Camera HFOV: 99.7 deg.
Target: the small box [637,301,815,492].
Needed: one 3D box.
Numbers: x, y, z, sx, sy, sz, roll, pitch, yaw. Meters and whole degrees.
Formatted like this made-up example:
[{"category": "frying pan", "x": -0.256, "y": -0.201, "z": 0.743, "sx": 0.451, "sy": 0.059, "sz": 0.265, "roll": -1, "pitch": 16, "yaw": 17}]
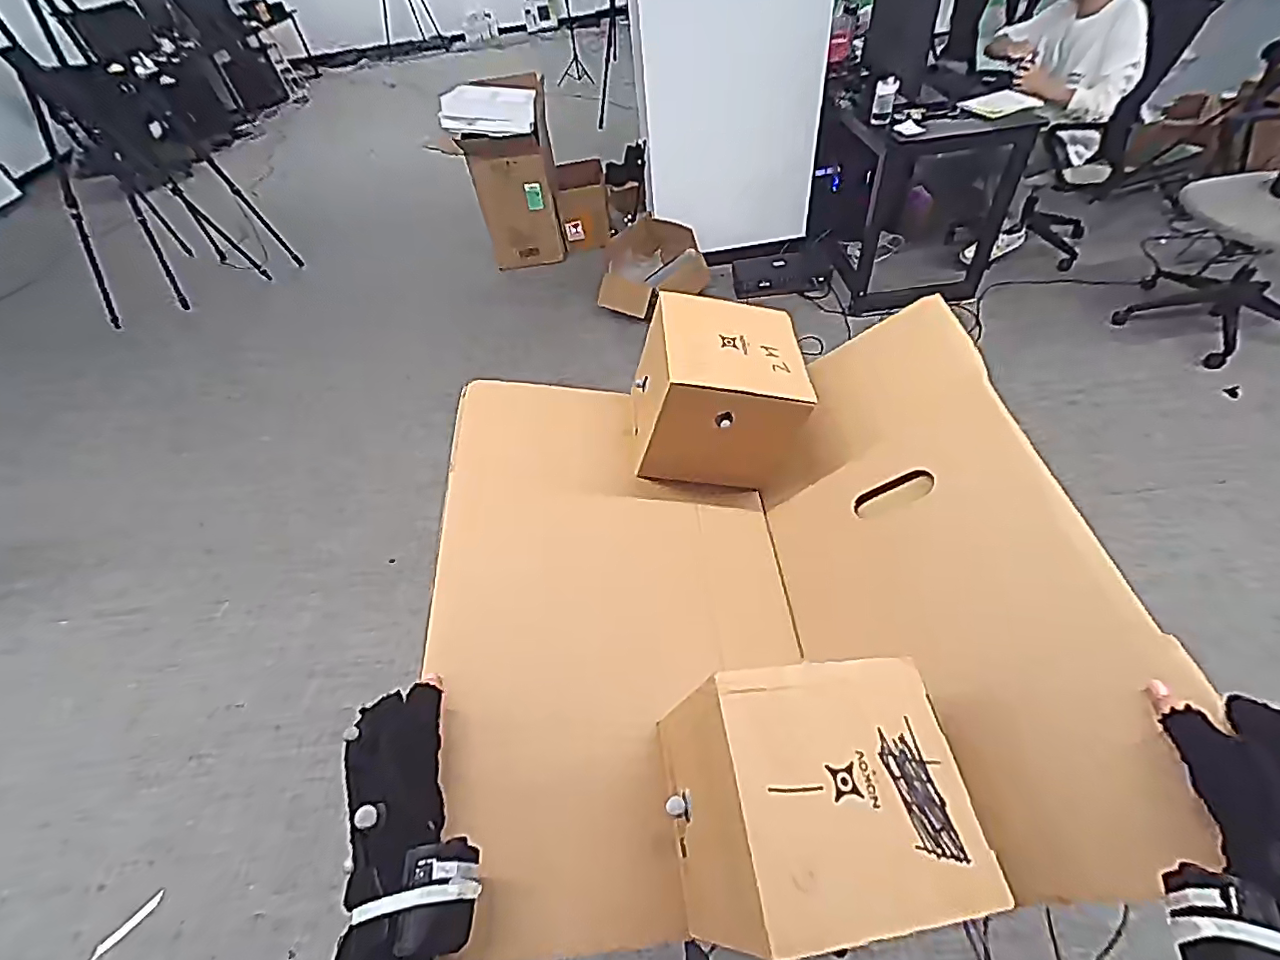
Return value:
[{"category": "small box", "x": 0.093, "y": -0.100, "z": 0.698, "sx": 0.179, "sy": 0.176, "sz": 0.168, "roll": 7, "pitch": 52, "yaw": -12}]
